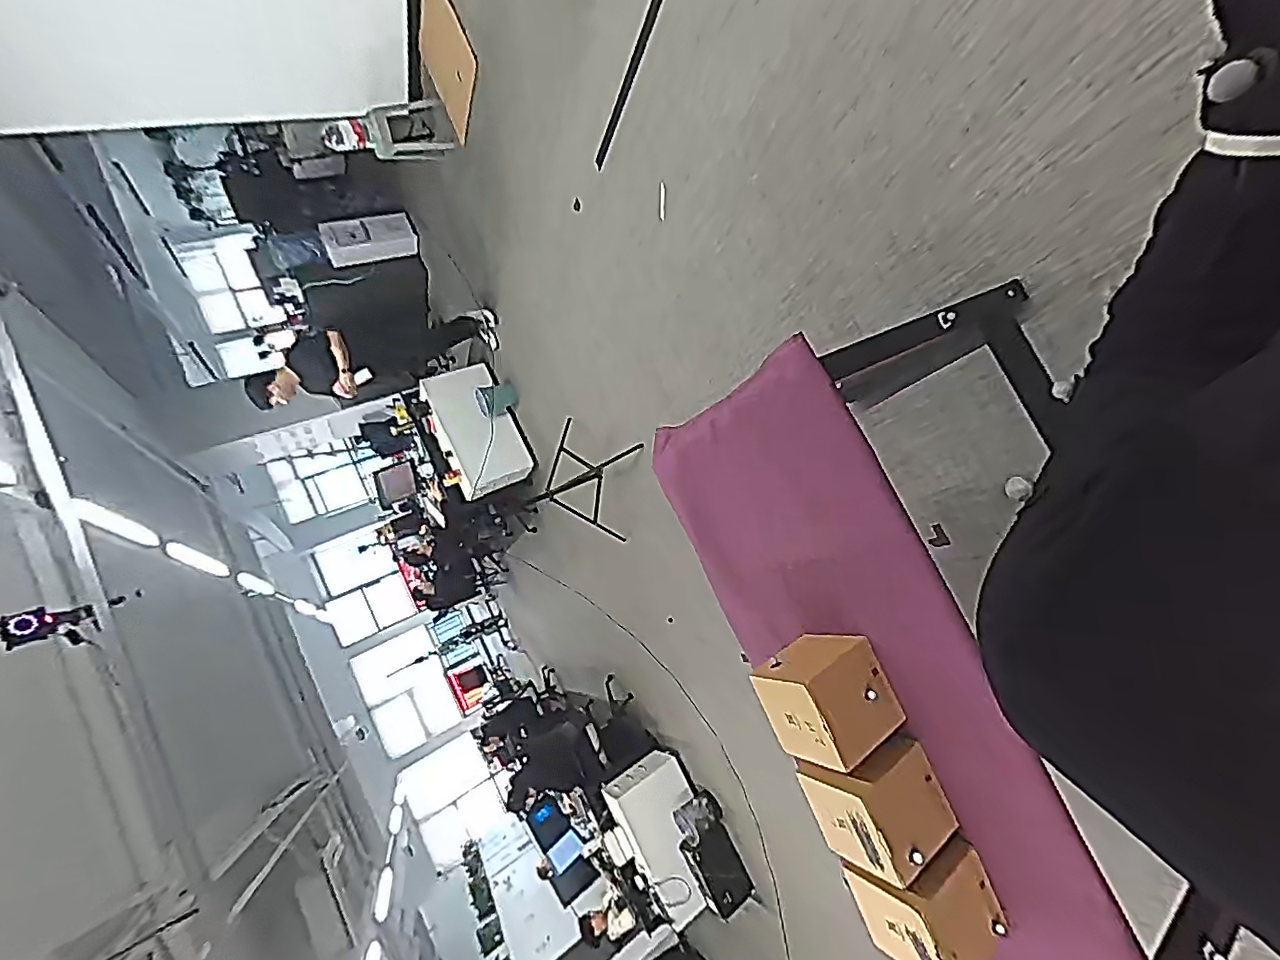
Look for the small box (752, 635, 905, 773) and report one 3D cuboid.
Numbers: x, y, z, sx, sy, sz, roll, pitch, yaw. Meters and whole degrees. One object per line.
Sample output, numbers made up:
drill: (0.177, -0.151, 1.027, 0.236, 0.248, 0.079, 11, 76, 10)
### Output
small box: (0.350, 0.406, 1.015, 0.168, 0.176, 0.179, 64, 154, 3)
